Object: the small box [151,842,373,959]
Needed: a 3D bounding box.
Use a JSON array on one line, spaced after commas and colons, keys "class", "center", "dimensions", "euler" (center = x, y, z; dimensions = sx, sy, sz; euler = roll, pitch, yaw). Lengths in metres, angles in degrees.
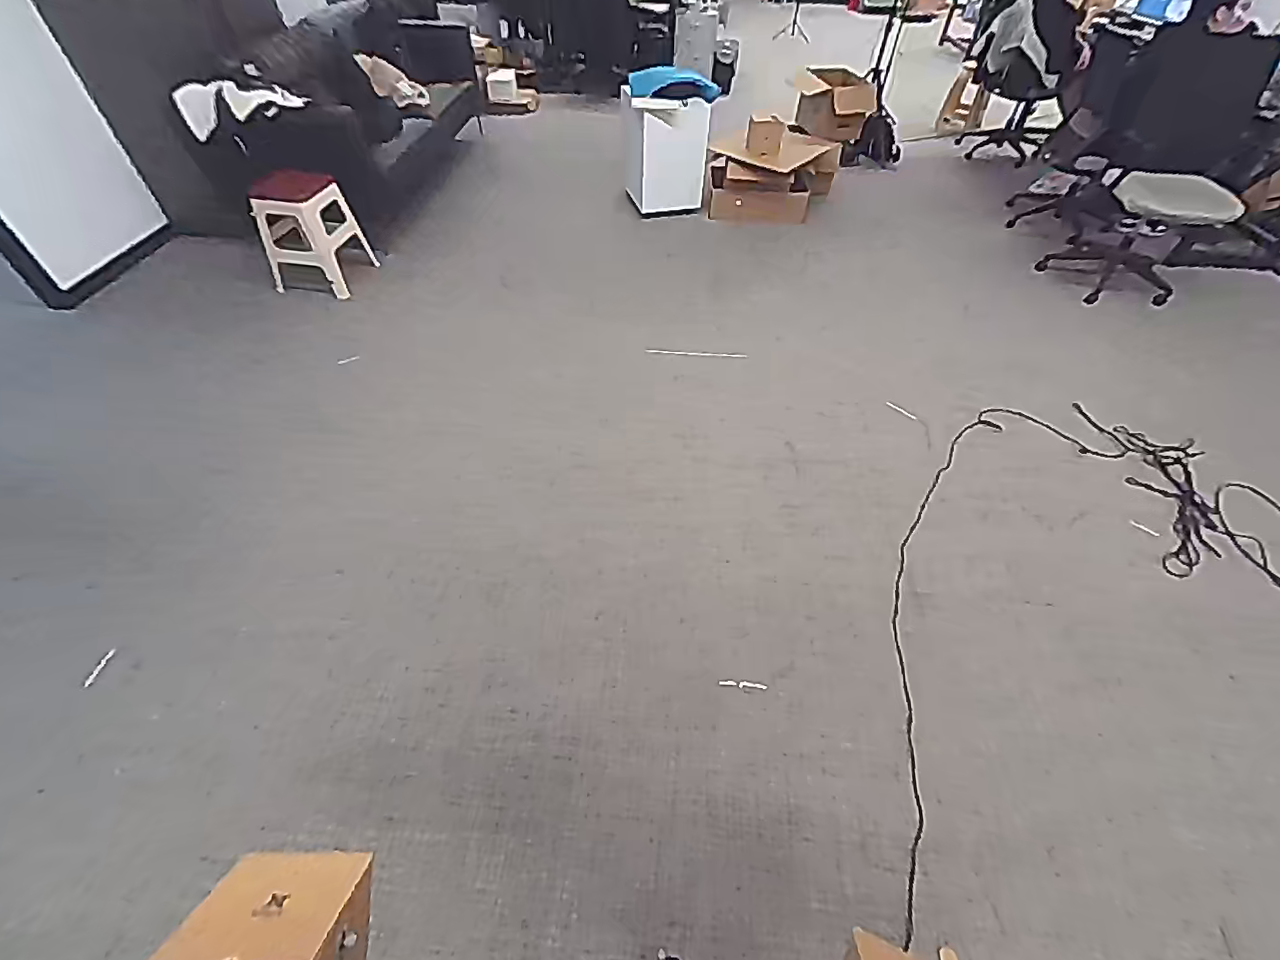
[{"class": "small box", "center": [-0.446, 0.580, 0.652], "dimensions": [0.168, 0.179, 0.176], "euler": [5, 92, -6]}]
